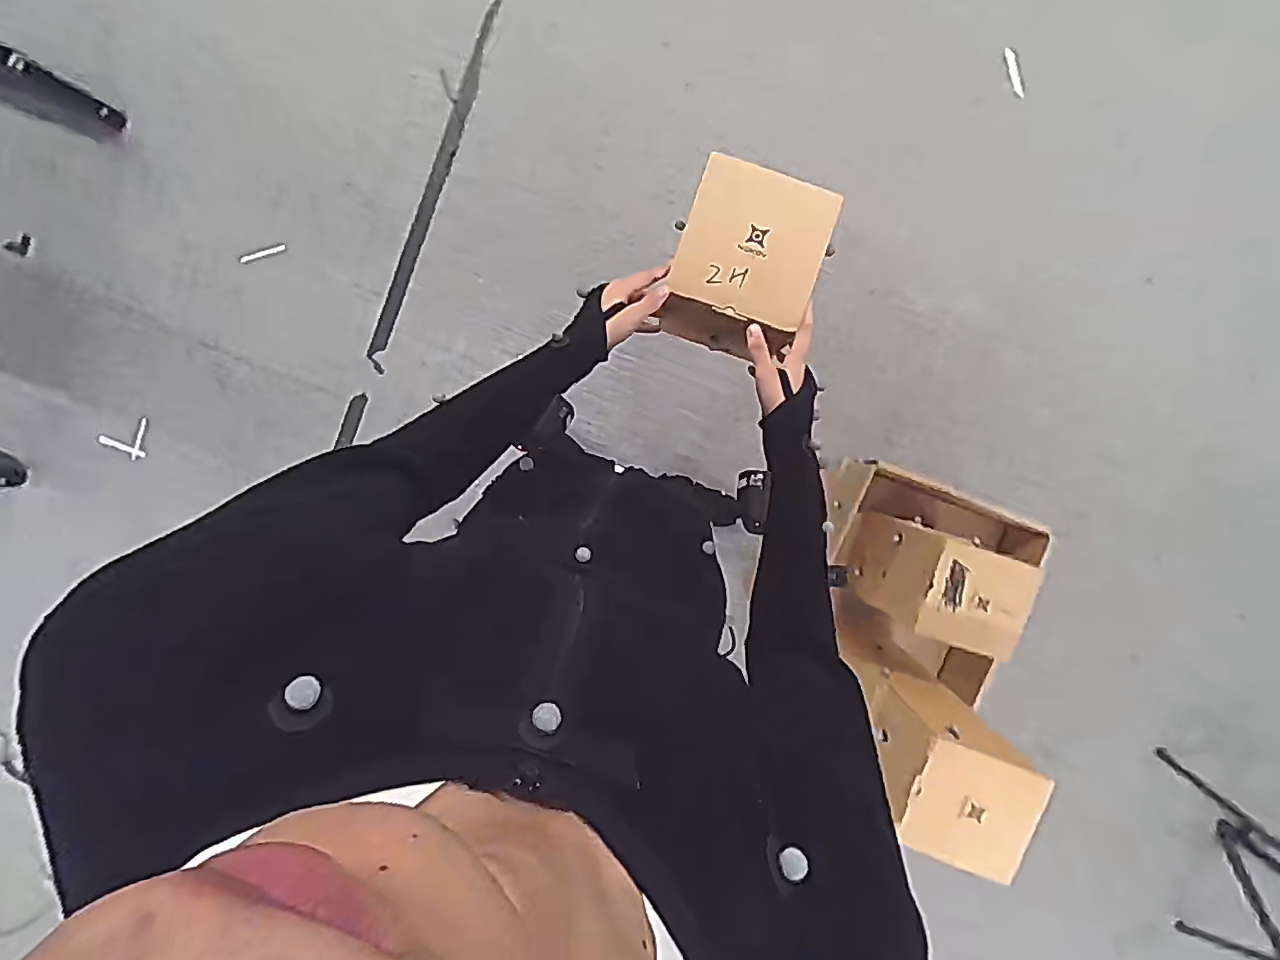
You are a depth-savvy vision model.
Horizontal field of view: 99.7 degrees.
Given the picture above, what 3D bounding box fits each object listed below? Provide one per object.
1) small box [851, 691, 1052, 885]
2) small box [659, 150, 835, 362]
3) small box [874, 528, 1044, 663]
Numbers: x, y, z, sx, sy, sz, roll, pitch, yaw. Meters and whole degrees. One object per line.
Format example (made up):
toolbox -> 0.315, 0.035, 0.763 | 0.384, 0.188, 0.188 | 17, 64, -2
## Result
small box -> 0.457, 0.452, 0.823 | 0.179, 0.176, 0.168 | 21, 95, 1
small box -> 0.124, -0.274, 0.702 | 0.168, 0.176, 0.179 | 18, 90, 1
small box -> 0.551, 0.194, 0.963 | 0.179, 0.176, 0.168 | 18, 96, -2
